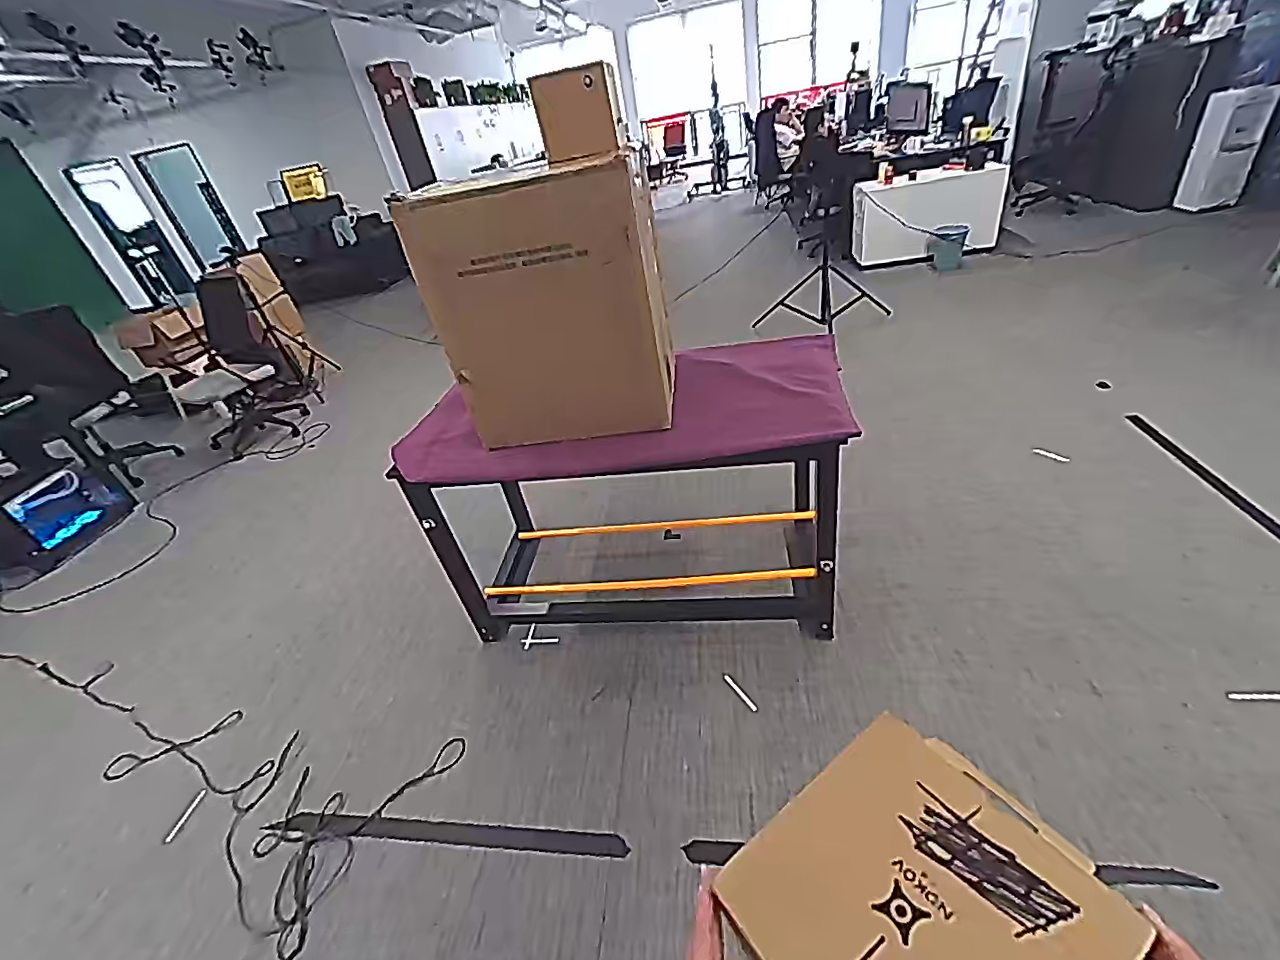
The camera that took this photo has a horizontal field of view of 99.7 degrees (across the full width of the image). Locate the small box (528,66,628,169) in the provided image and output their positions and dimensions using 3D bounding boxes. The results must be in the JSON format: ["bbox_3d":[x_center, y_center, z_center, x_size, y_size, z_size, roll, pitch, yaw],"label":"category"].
[{"bbox_3d":[-0.137,-0.840,1.262,0.179,0.176,0.168,-6,34,10],"label":"small box"}]
